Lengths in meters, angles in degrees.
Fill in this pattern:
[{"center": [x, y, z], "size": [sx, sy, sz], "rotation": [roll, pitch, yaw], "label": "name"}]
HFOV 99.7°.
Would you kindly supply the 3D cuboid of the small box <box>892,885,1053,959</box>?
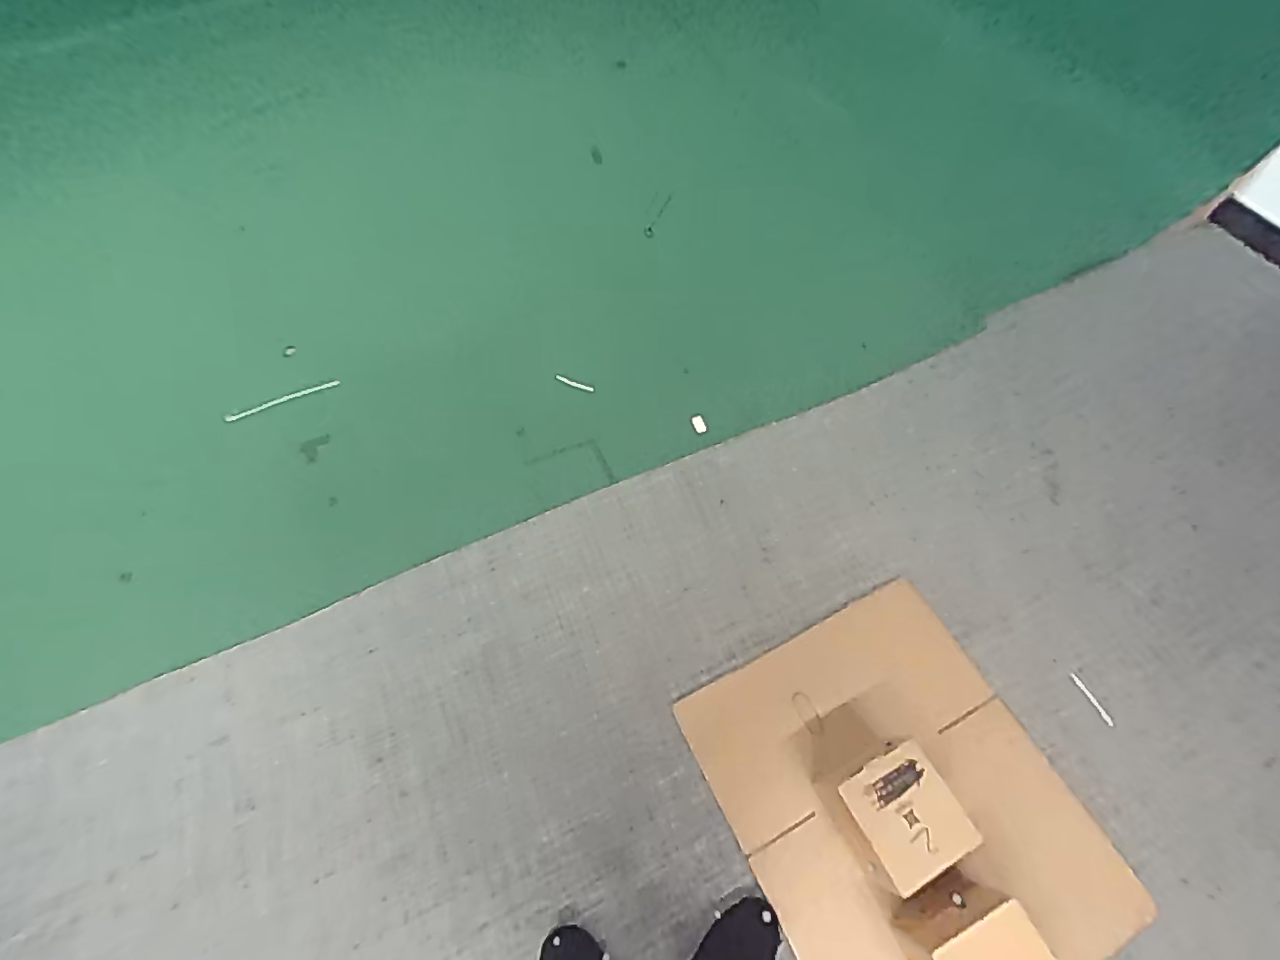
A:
[{"center": [0.541, 0.782, 0.859], "size": [0.168, 0.176, 0.179], "rotation": [-24, 65, -10], "label": "small box"}]
